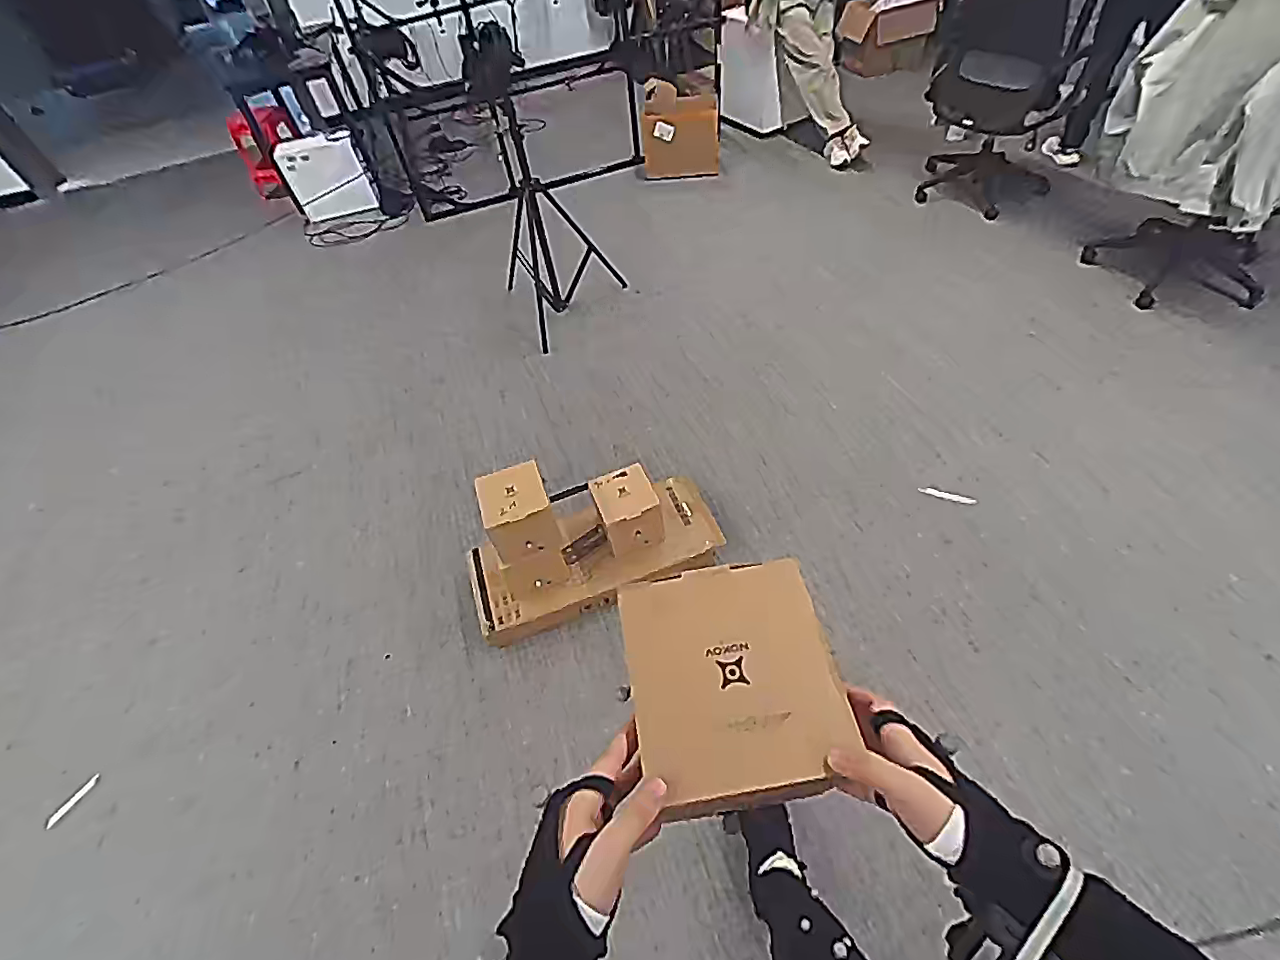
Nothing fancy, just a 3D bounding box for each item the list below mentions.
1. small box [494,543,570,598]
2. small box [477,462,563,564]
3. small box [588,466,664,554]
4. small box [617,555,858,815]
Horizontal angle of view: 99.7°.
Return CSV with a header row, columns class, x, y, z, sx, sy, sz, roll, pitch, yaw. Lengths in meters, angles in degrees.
class,x,y,z,sx,sy,sz,roll,pitch,yaw
small box,-0.311,0.204,1.540,0.168,0.176,0.179,-21,52,-9
small box,-0.313,0.089,1.420,0.168,0.176,0.179,-19,51,-8
small box,-0.036,0.096,1.590,0.168,0.176,0.179,-21,51,-9
small box,0.071,0.195,0.508,0.168,0.176,0.179,-8,55,-4
